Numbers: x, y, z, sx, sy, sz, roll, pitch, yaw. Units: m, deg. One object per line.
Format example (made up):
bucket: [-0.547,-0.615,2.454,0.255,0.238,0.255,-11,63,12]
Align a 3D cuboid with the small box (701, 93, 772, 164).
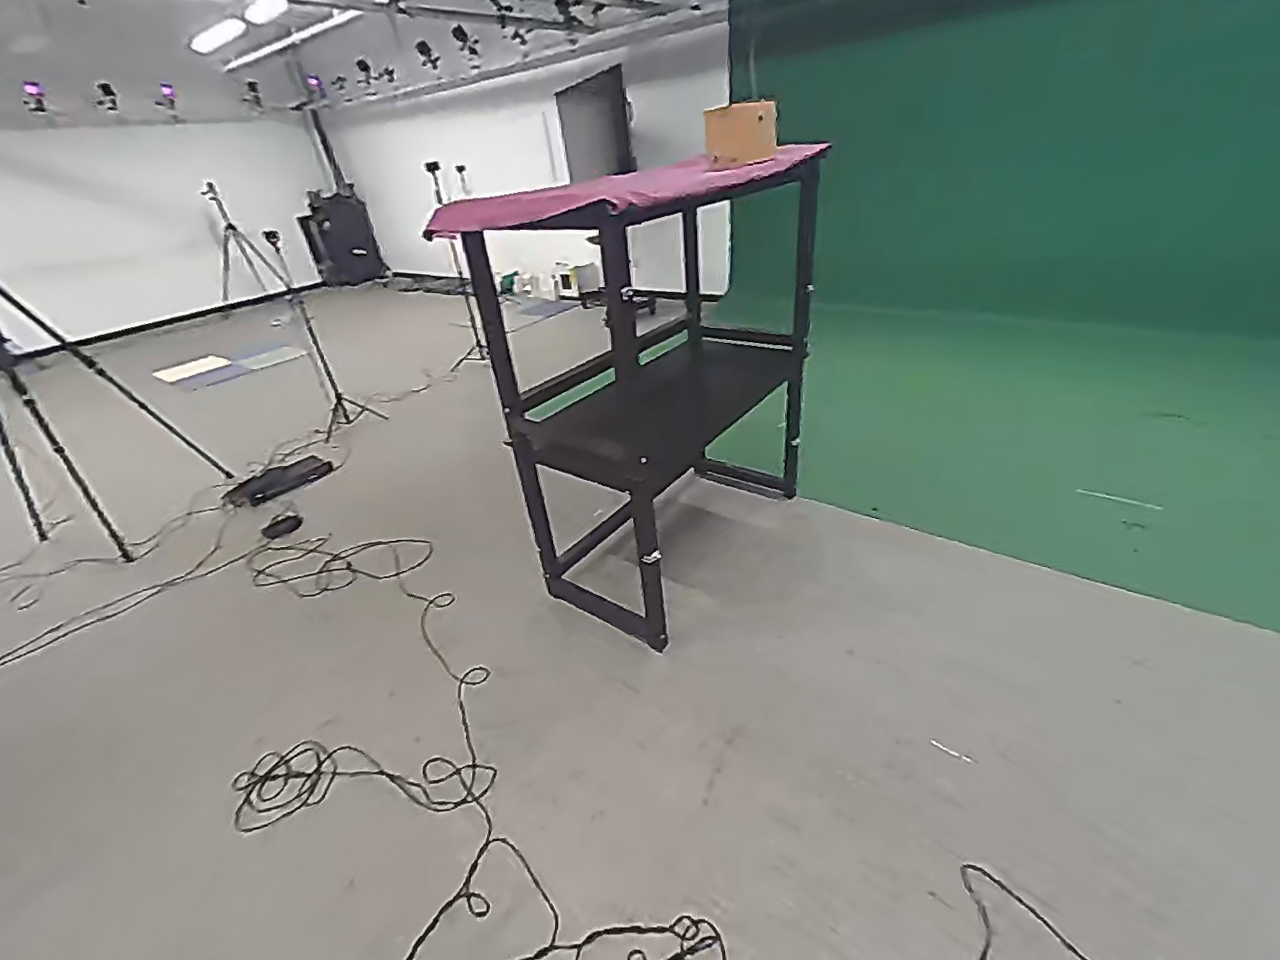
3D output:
small box: [0.318,-1.134,1.752,0.168,0.176,0.179,17,39,36]
